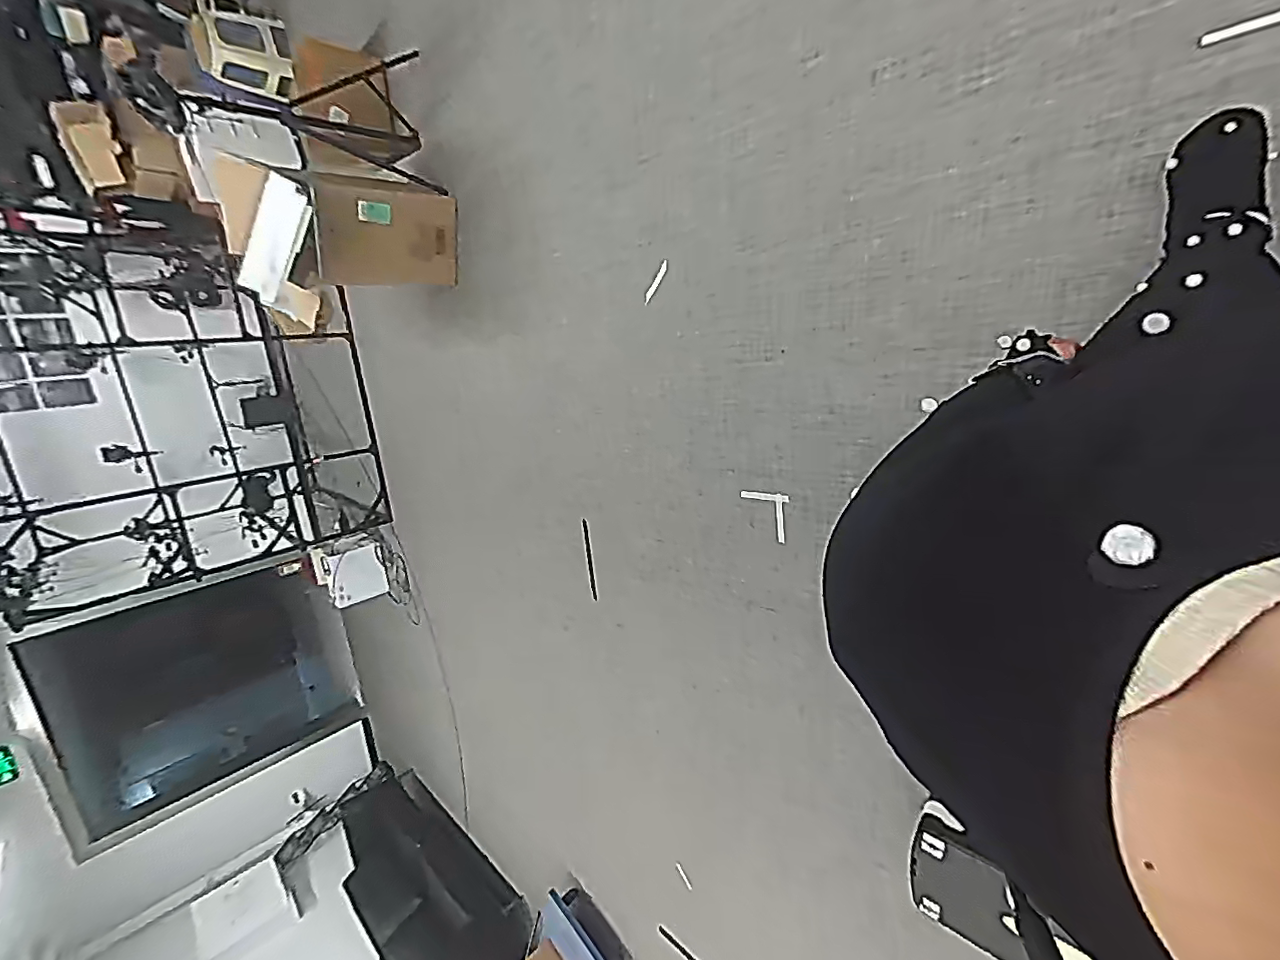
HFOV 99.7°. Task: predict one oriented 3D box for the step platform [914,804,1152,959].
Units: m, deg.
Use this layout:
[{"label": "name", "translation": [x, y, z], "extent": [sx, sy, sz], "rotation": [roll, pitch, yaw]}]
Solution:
[{"label": "step platform", "translation": [0.992, 1.070, 1.200], "extent": [0.684, 0.204, 0.286], "rotation": [16, 113, 45]}]
